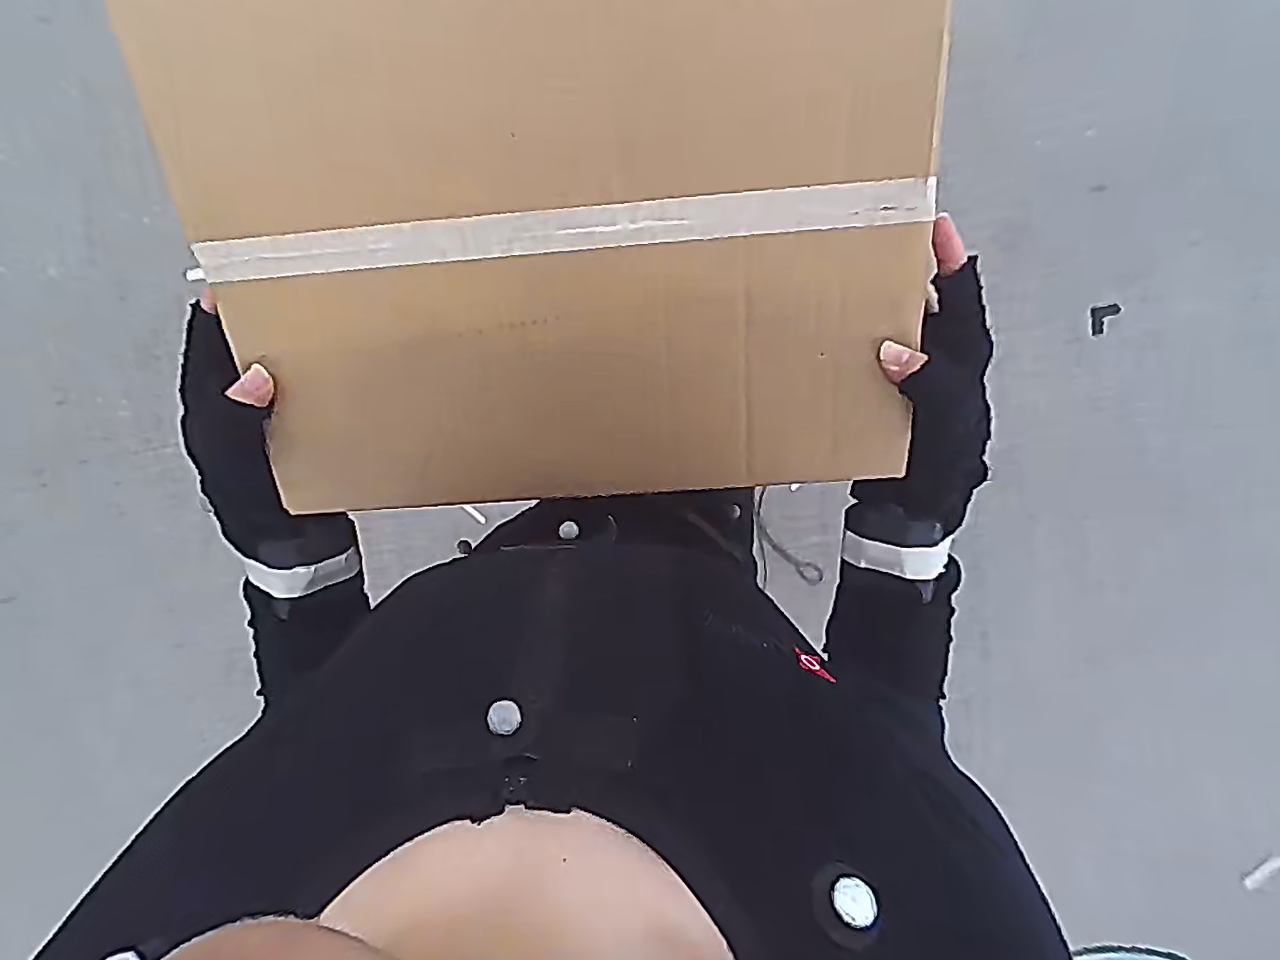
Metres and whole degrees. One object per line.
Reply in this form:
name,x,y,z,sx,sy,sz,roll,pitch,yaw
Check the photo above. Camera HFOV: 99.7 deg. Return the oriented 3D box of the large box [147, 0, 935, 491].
large box,-0.043,-0.201,0.445,0.408,0.320,0.320,-4,112,2
